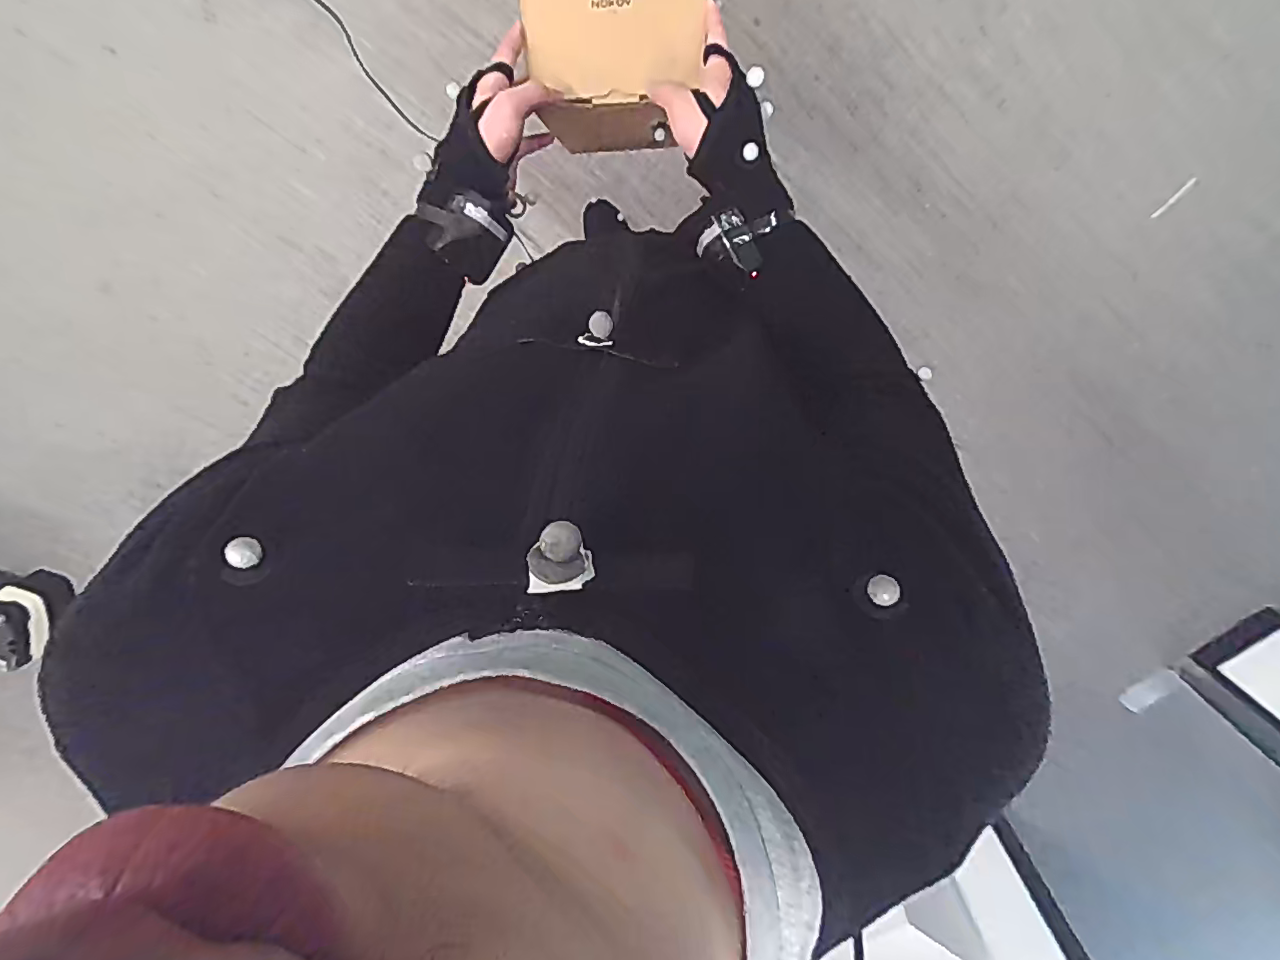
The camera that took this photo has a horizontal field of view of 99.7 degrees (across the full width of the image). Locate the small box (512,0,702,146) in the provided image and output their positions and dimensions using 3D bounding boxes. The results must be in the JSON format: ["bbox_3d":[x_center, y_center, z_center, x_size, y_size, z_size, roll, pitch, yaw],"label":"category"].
[{"bbox_3d":[-0.023,-0.455,0.541,0.168,0.176,0.179,0,106,7],"label":"small box"}]
